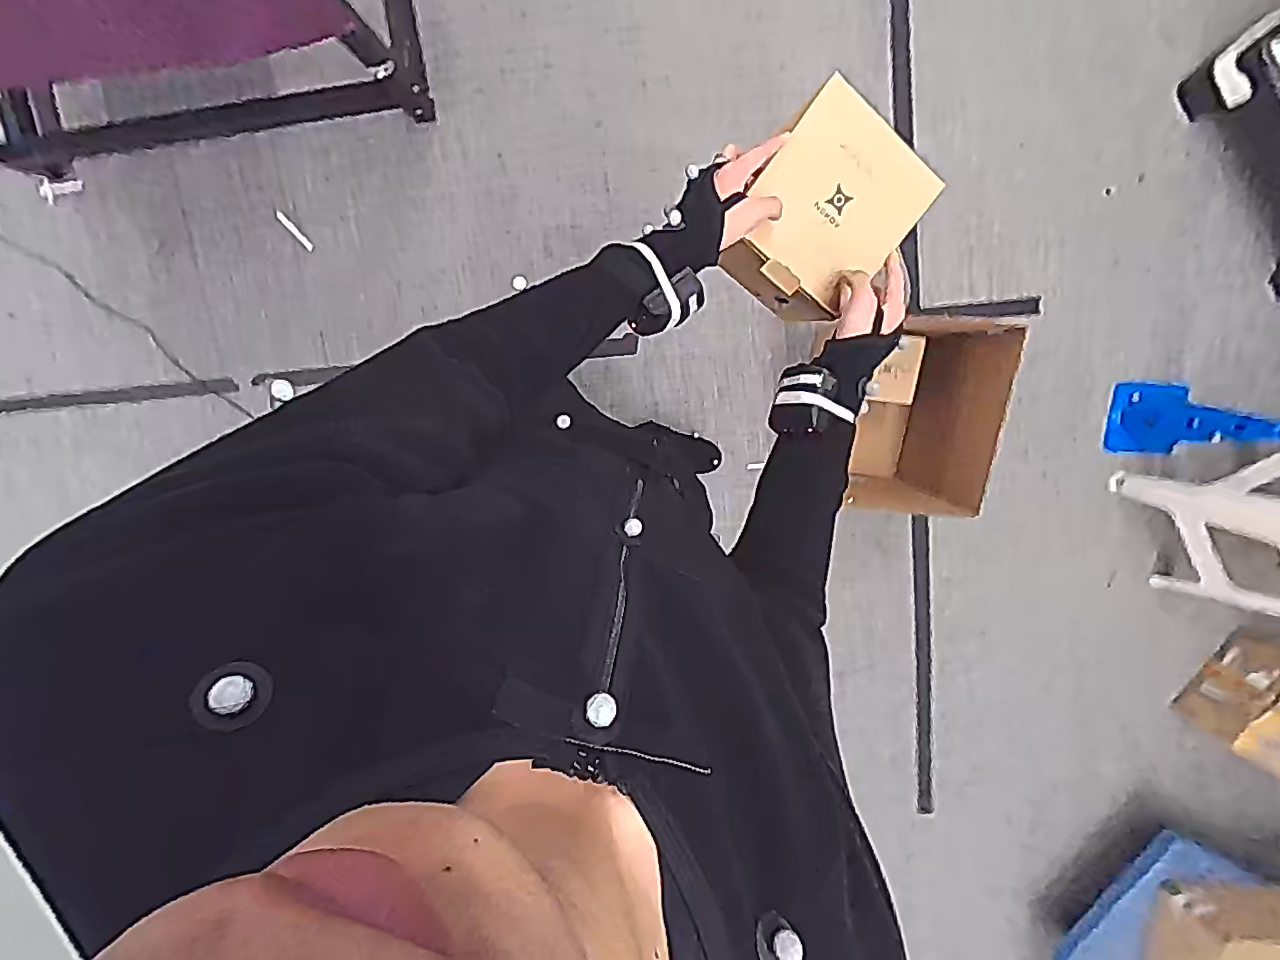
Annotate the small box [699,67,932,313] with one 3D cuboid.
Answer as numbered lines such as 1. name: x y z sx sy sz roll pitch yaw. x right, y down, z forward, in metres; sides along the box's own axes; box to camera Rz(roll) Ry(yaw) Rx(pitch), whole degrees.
1. small box: 0.187 -0.316 0.639 0.168 0.176 0.179 35 99 -14
